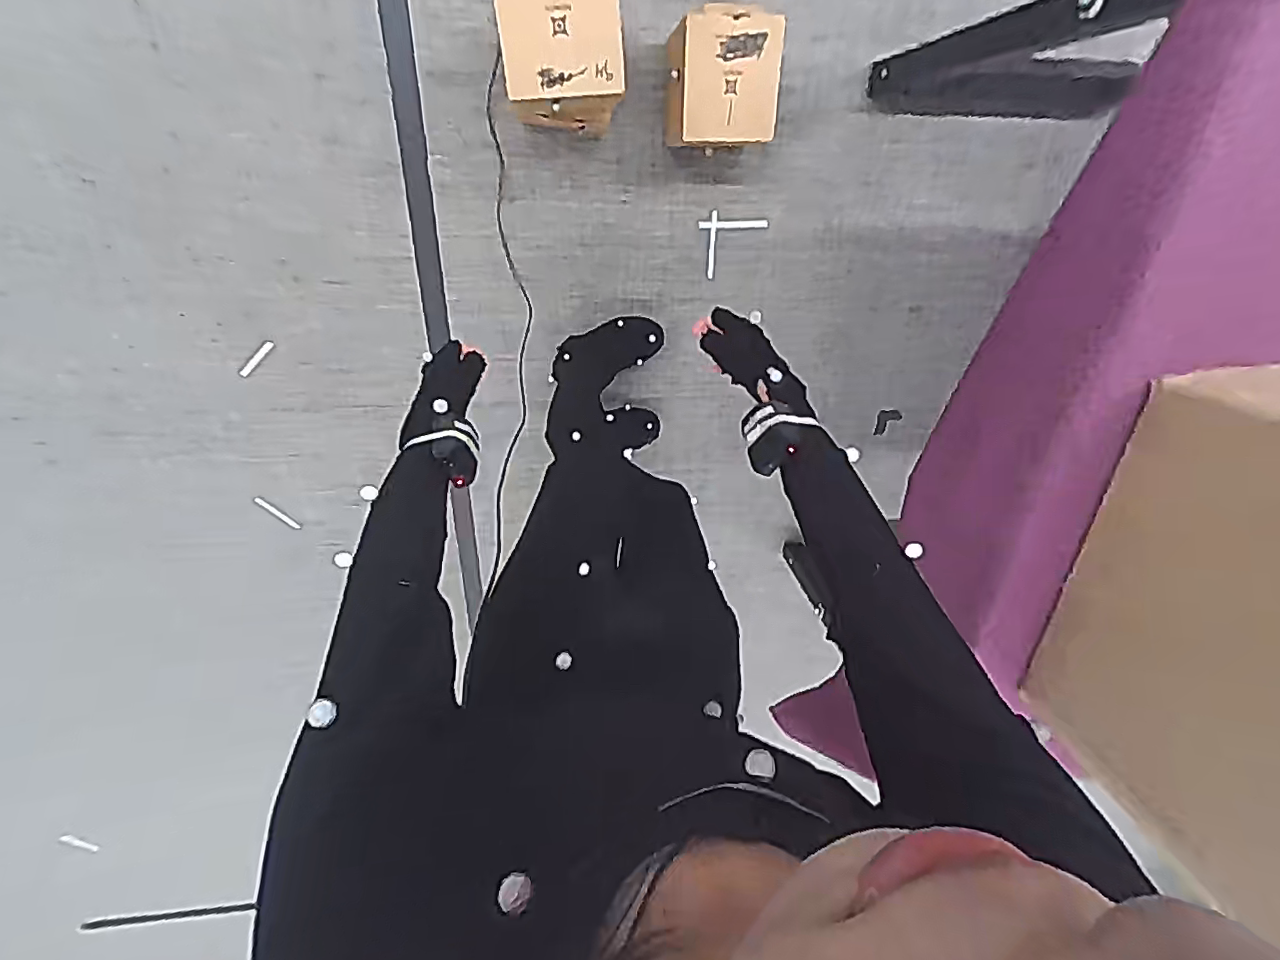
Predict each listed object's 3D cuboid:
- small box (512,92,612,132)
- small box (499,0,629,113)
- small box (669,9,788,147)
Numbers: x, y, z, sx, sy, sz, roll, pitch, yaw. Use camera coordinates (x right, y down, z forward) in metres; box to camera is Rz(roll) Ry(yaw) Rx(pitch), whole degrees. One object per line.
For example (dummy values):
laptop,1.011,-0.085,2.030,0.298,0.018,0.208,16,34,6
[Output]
small box,-0.128,-0.713,0.926,0.168,0.176,0.179,2,116,-10
small box,-0.112,-0.647,0.776,0.168,0.176,0.179,-7,119,-6
small box,0.148,-0.705,0.967,0.168,0.176,0.179,-3,119,-6
